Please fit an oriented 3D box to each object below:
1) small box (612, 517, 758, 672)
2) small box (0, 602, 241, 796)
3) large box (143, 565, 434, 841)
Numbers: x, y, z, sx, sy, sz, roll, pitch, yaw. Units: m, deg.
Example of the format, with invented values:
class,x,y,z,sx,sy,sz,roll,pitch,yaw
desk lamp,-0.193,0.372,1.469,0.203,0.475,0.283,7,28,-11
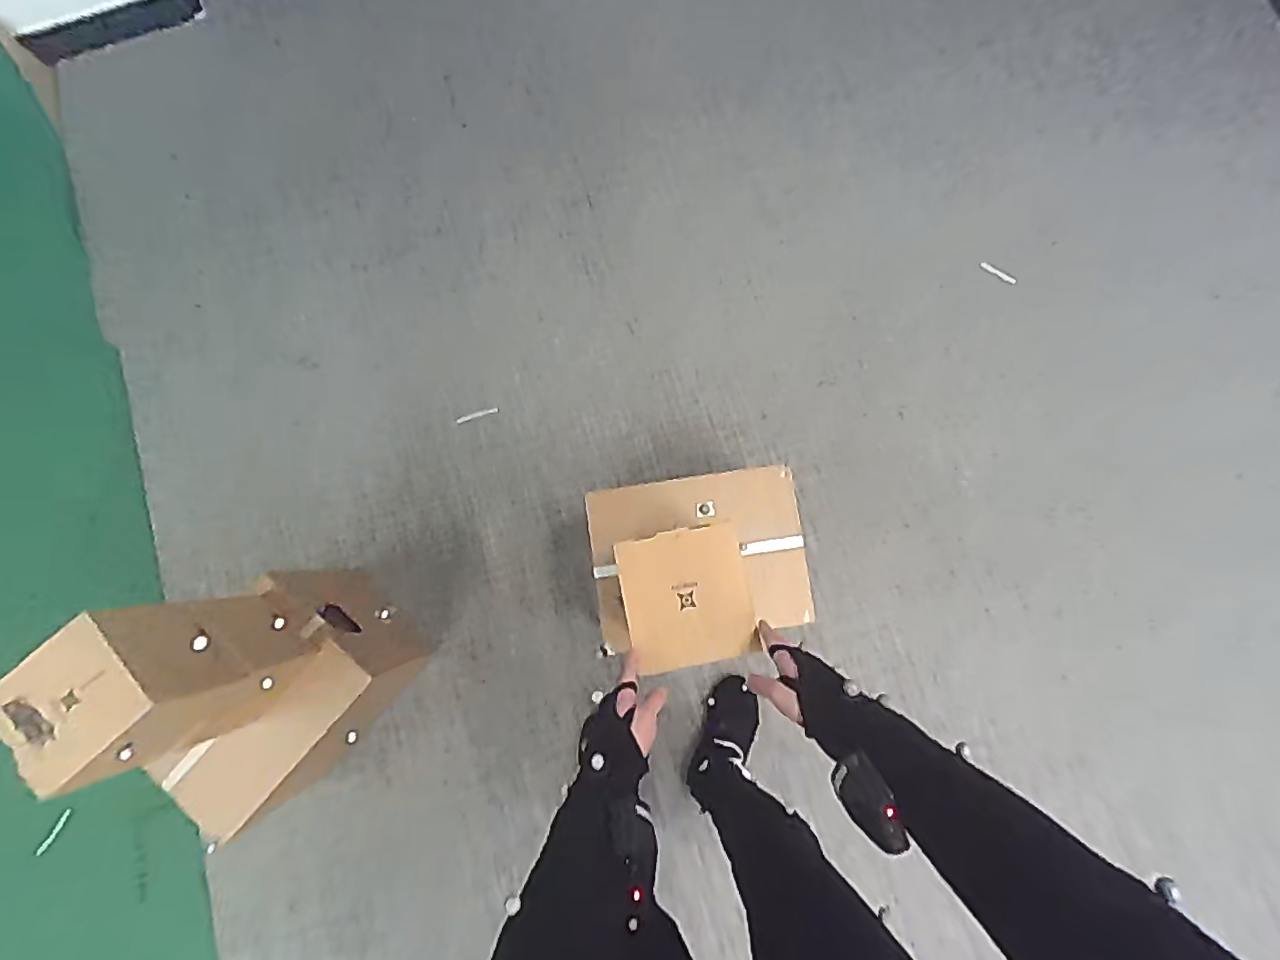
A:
class,x,y,z,sx,sy,sz,roll,pitch,yaw
small box,0.061,0.157,0.781,0.168,0.176,0.179,-12,82,0
small box,-0.738,0.296,0.776,0.179,0.176,0.168,-42,83,-5
large box,-0.739,0.437,1.170,0.320,0.320,0.408,40,86,7
